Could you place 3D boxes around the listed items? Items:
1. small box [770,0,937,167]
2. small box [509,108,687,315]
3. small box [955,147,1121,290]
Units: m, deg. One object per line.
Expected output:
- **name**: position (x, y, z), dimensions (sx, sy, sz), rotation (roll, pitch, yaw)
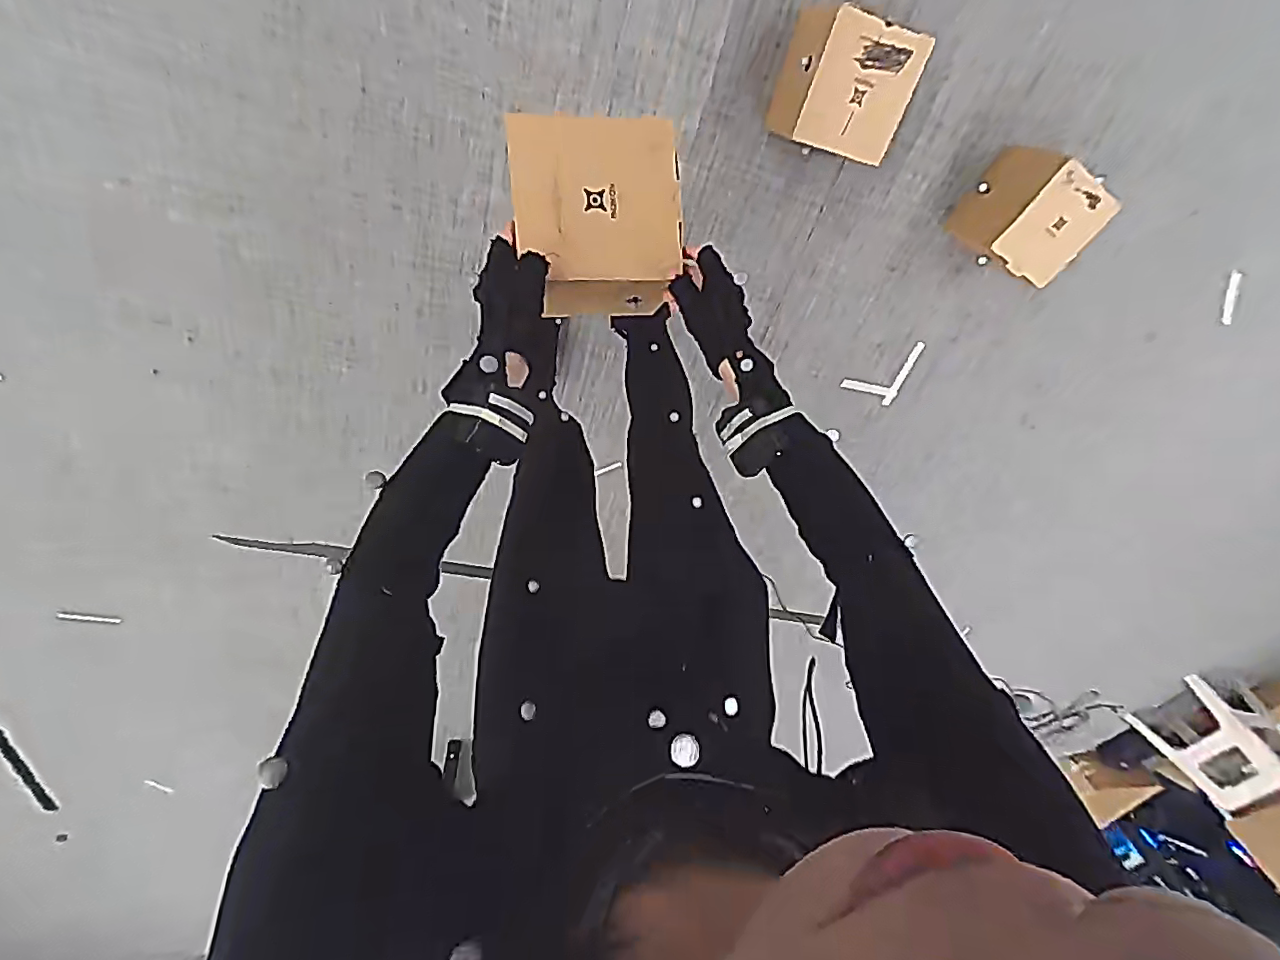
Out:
- **small box**: position (0.334, -0.648, 0.891), dimensions (0.168, 0.176, 0.179), rotation (9, 127, -14)
- **small box**: position (-0.054, -0.297, 0.632), dimensions (0.179, 0.176, 0.168), rotation (-5, 94, -9)
- **small box**: position (0.753, -0.510, 1.051), dimensions (0.168, 0.176, 0.179), rotation (23, 122, -23)
